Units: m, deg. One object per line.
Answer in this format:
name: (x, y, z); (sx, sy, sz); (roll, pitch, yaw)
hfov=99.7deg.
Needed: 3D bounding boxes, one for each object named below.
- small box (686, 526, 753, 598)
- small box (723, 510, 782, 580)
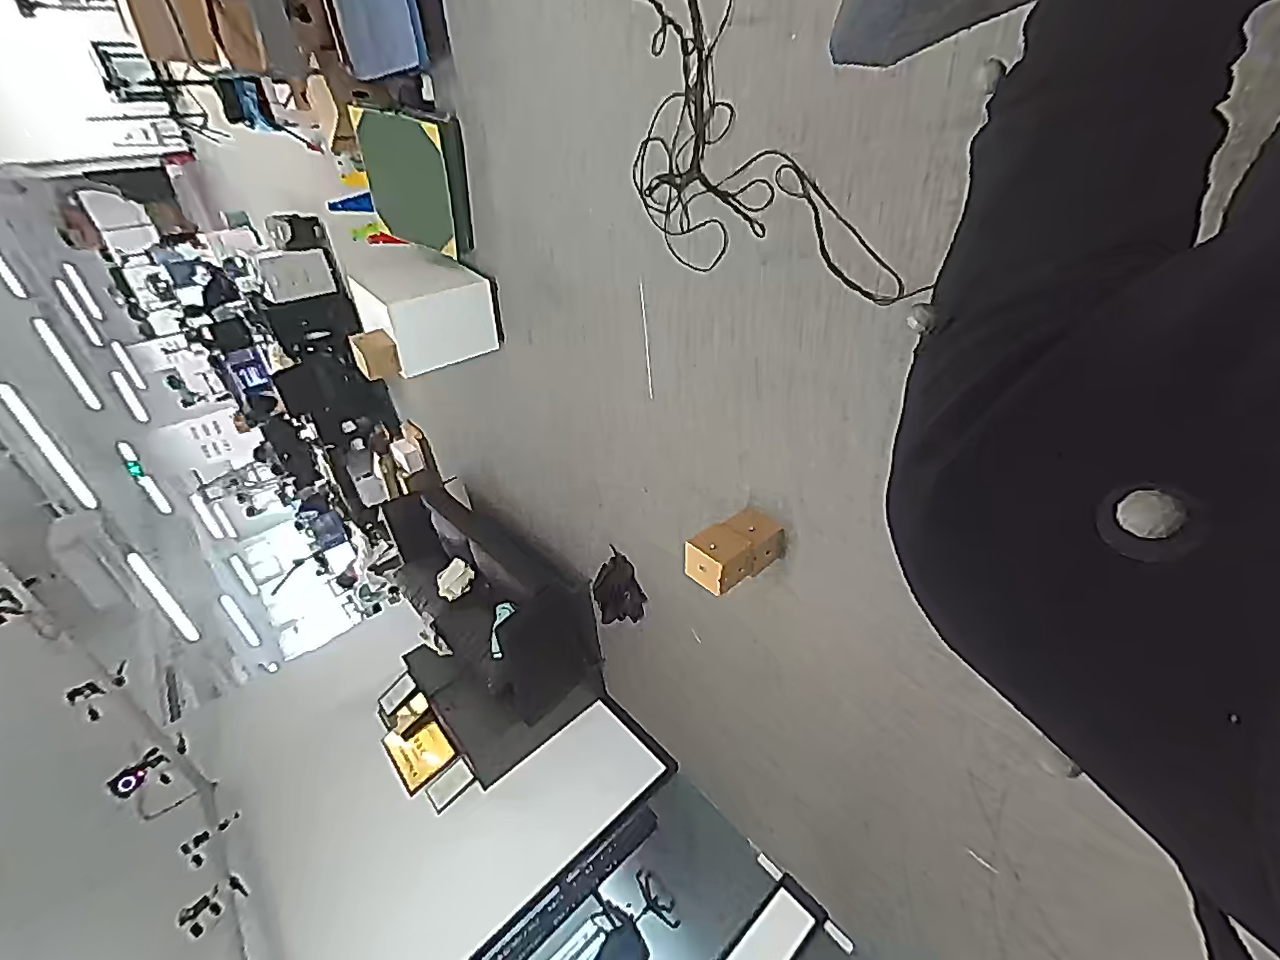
small box: (0.290, 0.292, 1.986); (0.179, 0.176, 0.168); (31, 137, 39)
small box: (0.422, 0.242, 2.070); (0.179, 0.176, 0.168); (31, 137, 39)
